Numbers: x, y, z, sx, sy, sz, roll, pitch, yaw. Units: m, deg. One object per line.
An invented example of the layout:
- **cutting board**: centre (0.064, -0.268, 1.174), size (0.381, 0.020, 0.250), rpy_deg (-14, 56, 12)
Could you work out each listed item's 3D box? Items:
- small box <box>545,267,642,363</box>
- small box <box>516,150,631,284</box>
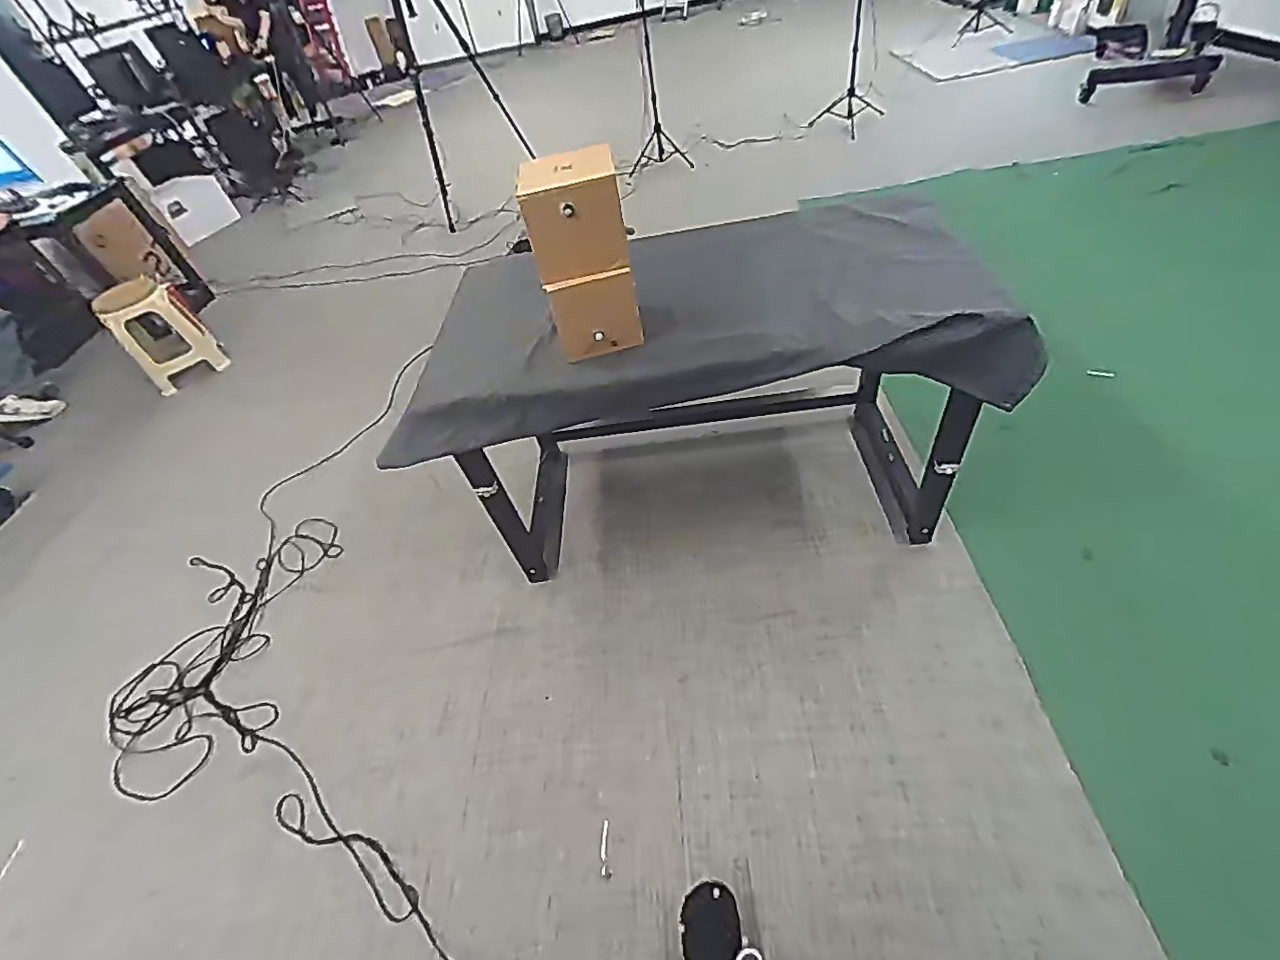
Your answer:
- **small box**: centre (-0.100, -0.372, 1.130), size (0.168, 0.176, 0.179), rpy_deg (-14, 47, -1)
- **small box**: centre (-0.122, -0.492, 1.022), size (0.179, 0.176, 0.168), rpy_deg (-10, 48, 1)
